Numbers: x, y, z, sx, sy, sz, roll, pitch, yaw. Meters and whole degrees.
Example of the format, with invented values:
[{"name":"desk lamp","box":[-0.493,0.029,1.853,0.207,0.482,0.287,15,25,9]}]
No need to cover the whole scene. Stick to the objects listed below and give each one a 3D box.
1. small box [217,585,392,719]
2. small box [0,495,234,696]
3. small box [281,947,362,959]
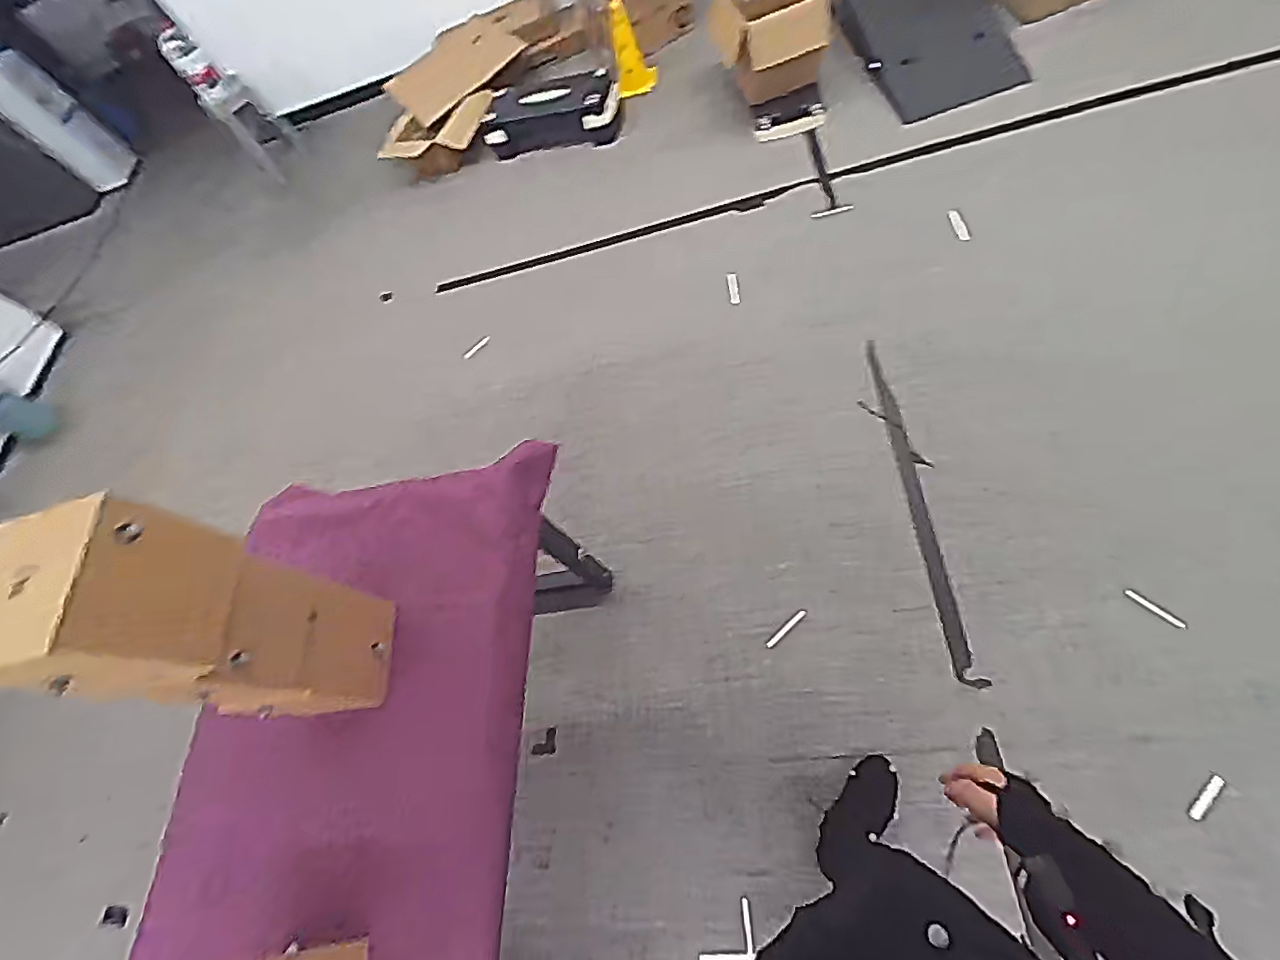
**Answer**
[{"name":"small box","box":[-0.542,0.293,0.902,0.168,0.176,0.179,-13,62,12]},{"name":"small box","box":[-0.614,0.143,0.619,0.168,0.176,0.179,-16,62,10]},{"name":"small box","box":[-0.469,0.724,0.669,0.168,0.176,0.179,-17,61,10]}]
